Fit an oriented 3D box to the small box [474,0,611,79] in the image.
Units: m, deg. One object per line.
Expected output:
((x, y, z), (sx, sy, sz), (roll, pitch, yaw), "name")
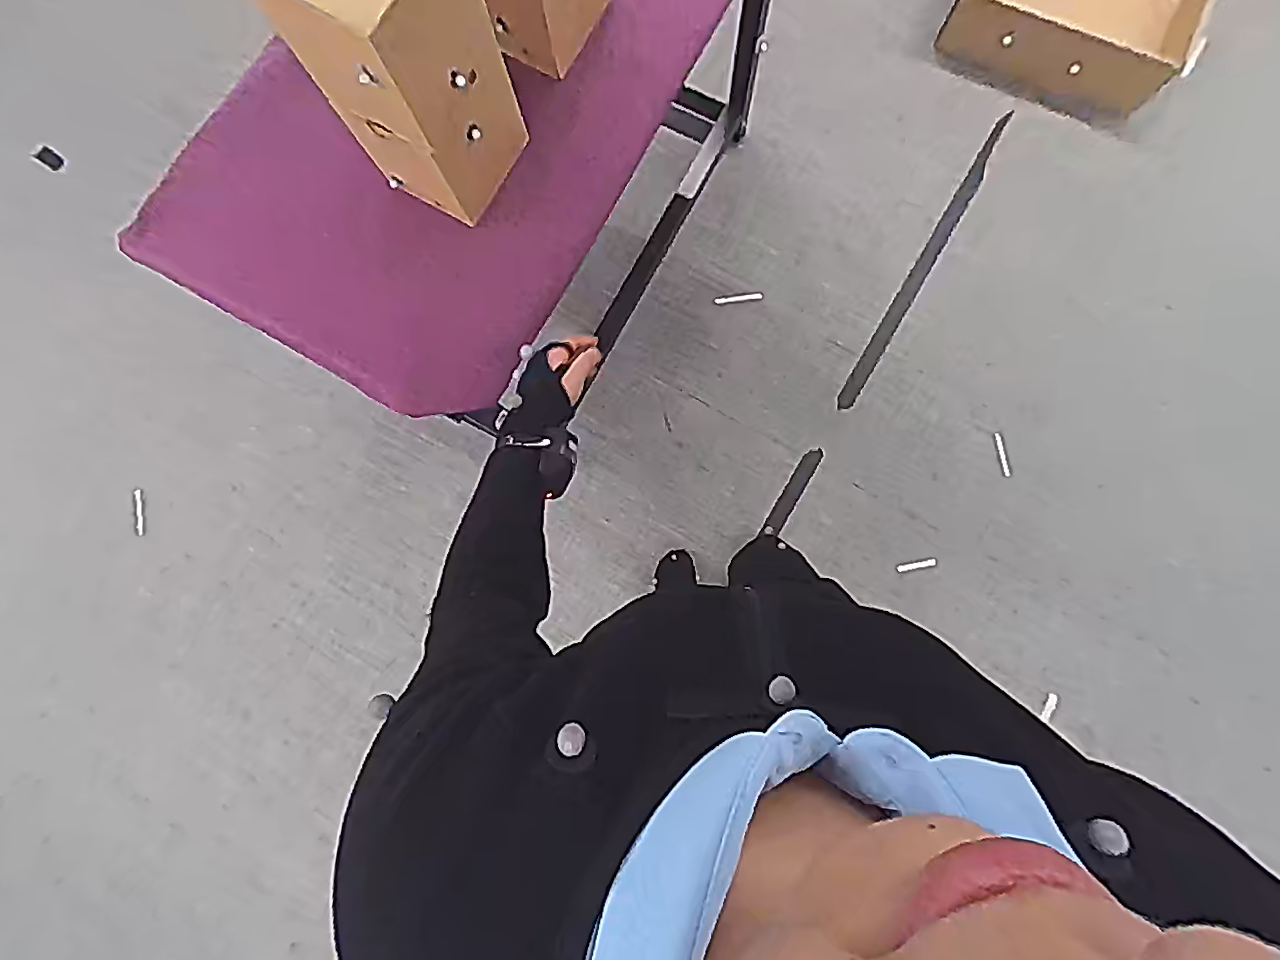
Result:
((-0.152, -0.774, 0.819), (0.168, 0.176, 0.179), (30, 86, 5), "small box")

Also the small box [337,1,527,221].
((-0.287, -0.524, 0.794), (0.168, 0.176, 0.179), (30, 85, 5), "small box")
